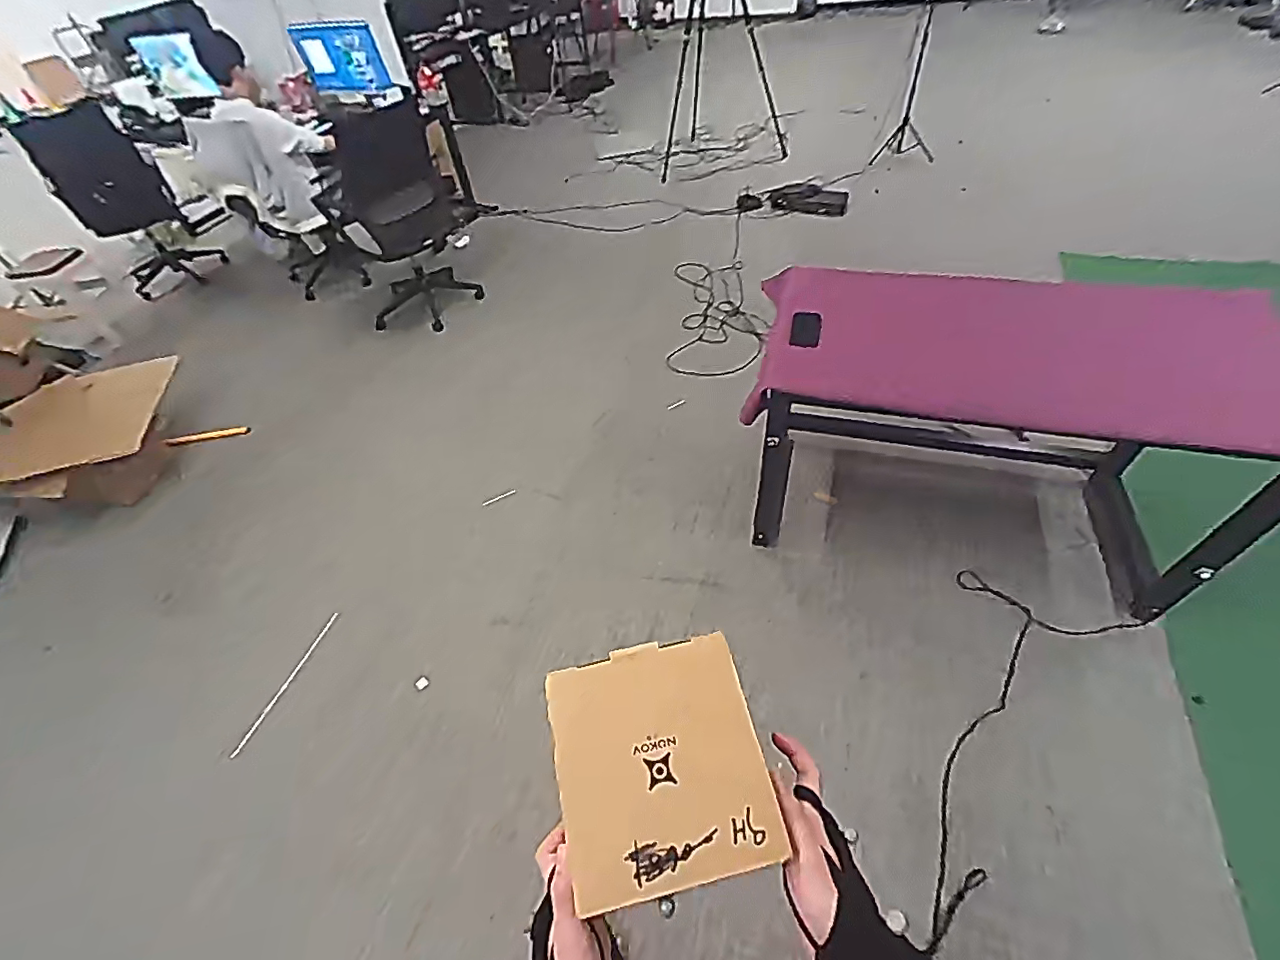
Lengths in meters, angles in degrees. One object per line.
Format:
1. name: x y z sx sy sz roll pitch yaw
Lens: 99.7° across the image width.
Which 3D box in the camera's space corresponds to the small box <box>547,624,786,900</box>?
1. small box: 0.017 0.259 0.506 0.168 0.176 0.179 -13 59 -3
